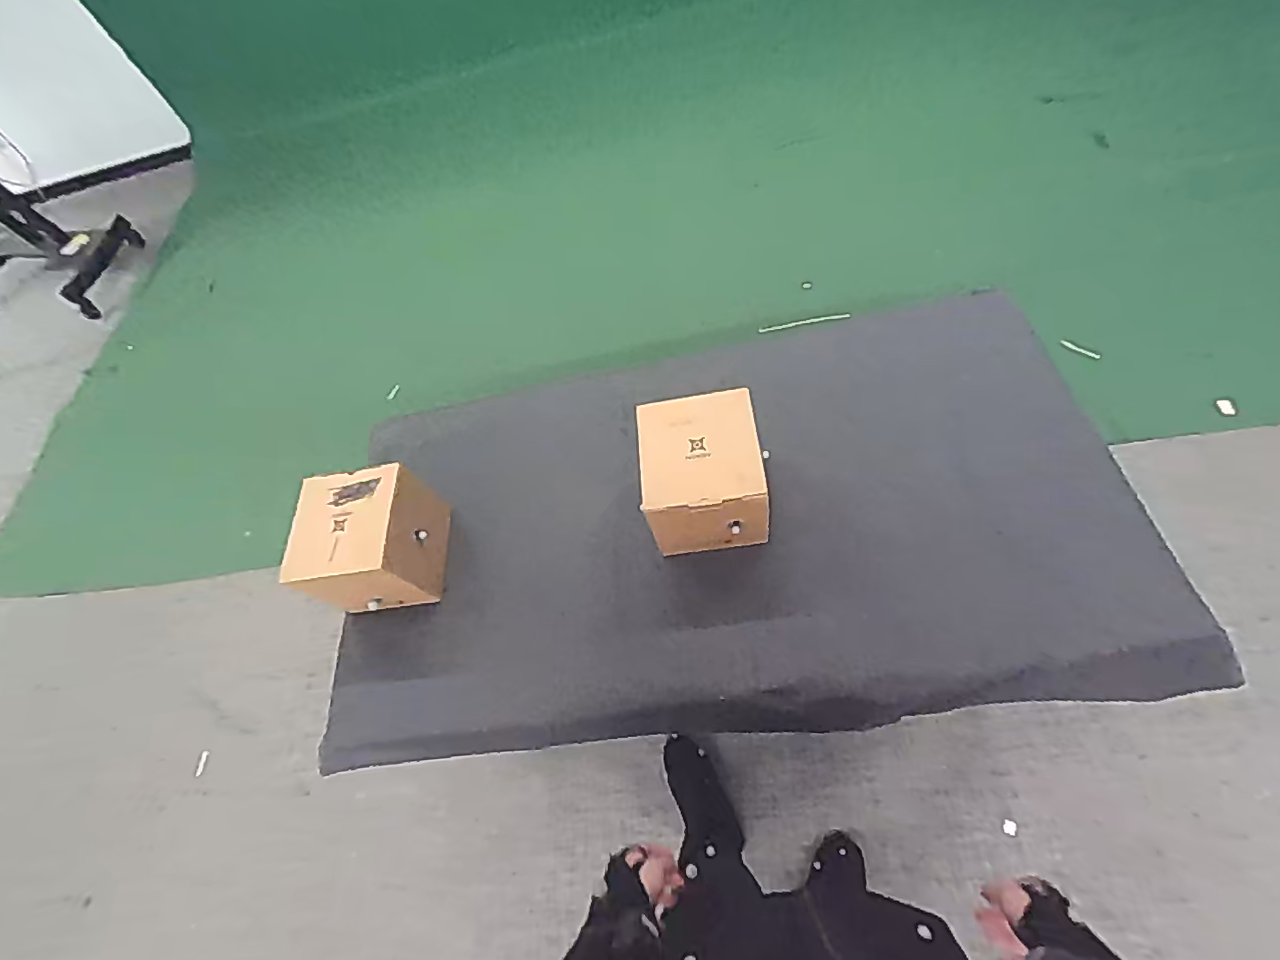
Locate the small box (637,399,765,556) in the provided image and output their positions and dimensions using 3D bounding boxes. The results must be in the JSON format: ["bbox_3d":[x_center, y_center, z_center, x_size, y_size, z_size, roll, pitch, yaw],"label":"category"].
[{"bbox_3d":[0.094,0.006,0.819,0.168,0.176,0.179,-9,60,7],"label":"small box"}]

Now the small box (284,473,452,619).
[{"bbox_3d":[-0.423,0.112,0.875,0.168,0.176,0.179,-9,61,8],"label":"small box"}]
